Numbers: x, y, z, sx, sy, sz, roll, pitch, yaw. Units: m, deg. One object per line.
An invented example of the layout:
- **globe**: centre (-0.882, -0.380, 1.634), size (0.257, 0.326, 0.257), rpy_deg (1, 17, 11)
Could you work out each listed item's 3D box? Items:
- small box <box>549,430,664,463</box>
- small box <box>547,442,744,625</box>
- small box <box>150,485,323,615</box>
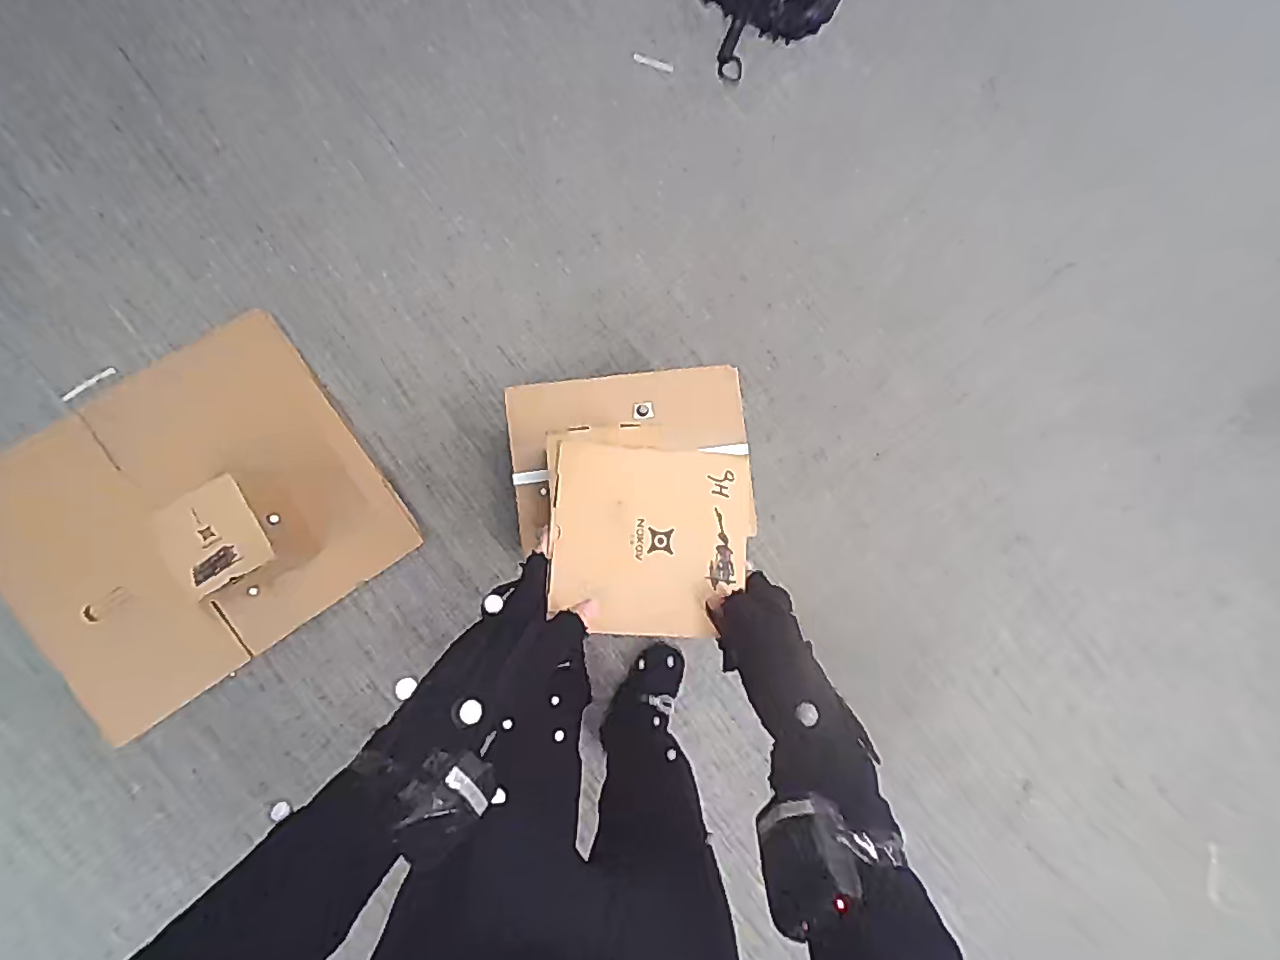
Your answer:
- **small box**: centre (-0.049, 0.026, 0.829), size (0.168, 0.176, 0.179), rpy_deg (-6, 88, -7)
- **small box**: centre (-0.002, 0.061, 0.563), size (0.179, 0.176, 0.168), rpy_deg (1, 80, -8)
- **small box**: centre (-0.746, 0.128, 1.024), size (0.168, 0.176, 0.179), rpy_deg (-30, 88, -8)
